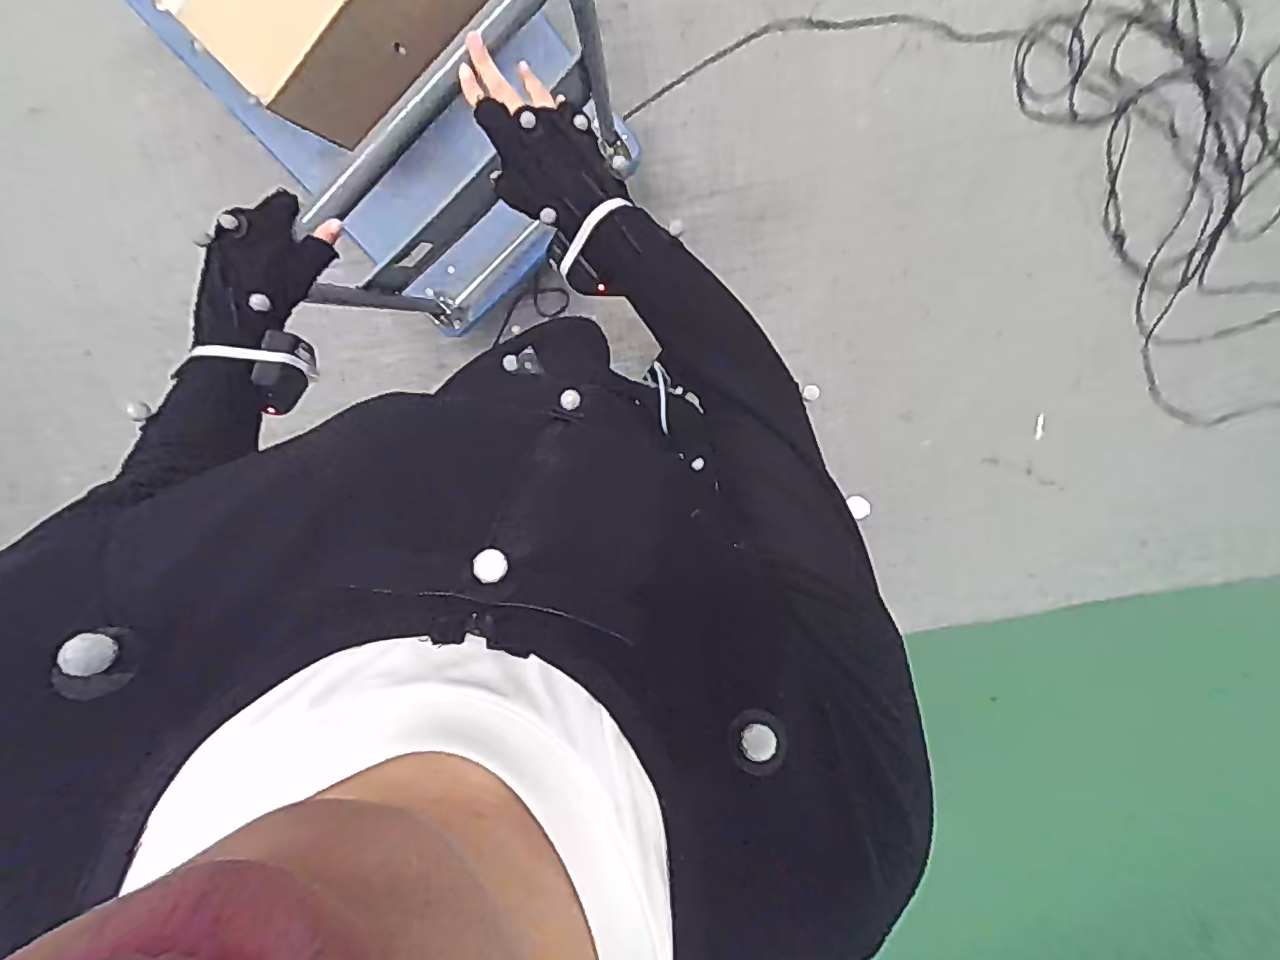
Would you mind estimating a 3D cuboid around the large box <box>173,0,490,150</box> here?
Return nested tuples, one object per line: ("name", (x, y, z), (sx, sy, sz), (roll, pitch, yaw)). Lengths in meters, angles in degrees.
("large box", (-0.495, -0.837, 0.867), (0.408, 0.320, 0.320), (-42, 105, 13))
